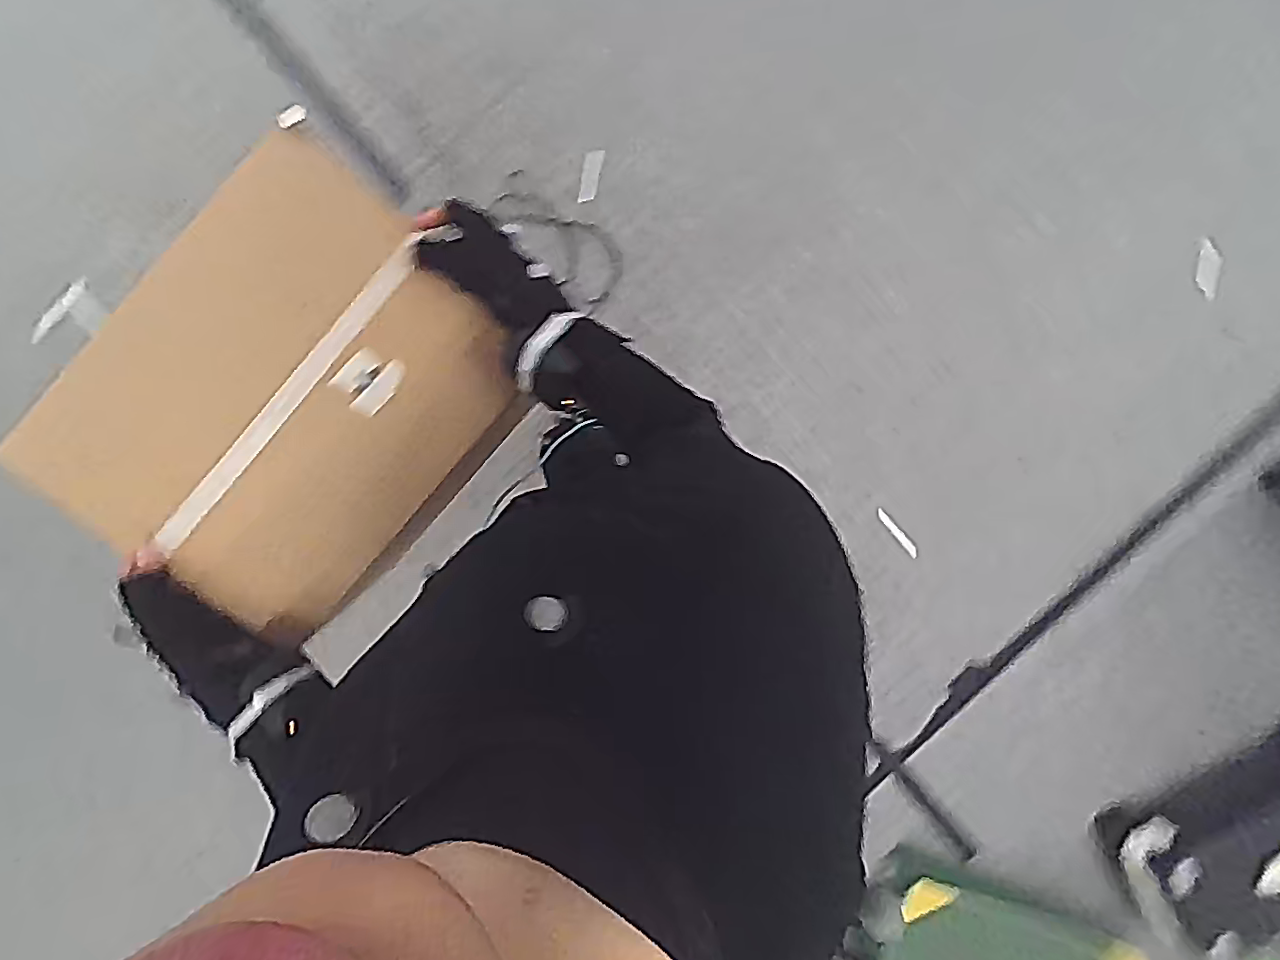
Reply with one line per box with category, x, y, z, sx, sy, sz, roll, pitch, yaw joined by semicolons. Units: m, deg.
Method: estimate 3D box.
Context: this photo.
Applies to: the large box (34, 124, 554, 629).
large box;-0.354;-0.105;0.679;0.320;0.320;0.408;41;90;-11
